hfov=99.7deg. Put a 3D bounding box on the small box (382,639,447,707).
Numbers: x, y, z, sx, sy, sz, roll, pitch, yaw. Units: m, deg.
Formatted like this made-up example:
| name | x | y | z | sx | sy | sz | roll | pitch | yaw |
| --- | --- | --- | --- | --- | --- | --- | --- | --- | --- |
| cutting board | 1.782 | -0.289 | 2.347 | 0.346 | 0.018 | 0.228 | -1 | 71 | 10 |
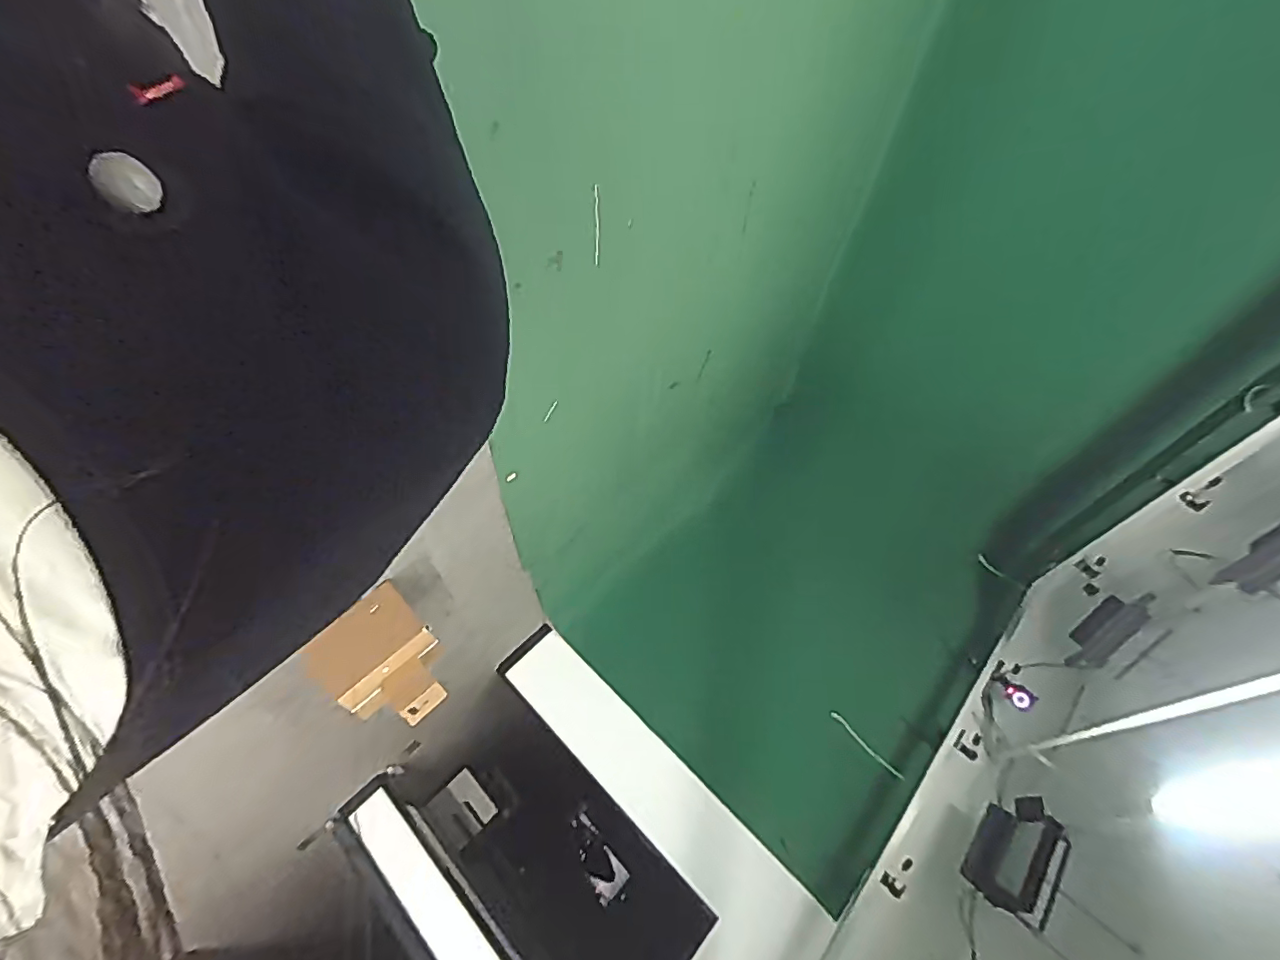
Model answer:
| name | x | y | z | sx | sy | sz | roll | pitch | yaw |
| --- | --- | --- | --- | --- | --- | --- | --- | --- | --- |
| small box | -0.951 | 0.810 | 2.270 | 0.179 | 0.176 | 0.168 | -39 | 150 | -24 |
